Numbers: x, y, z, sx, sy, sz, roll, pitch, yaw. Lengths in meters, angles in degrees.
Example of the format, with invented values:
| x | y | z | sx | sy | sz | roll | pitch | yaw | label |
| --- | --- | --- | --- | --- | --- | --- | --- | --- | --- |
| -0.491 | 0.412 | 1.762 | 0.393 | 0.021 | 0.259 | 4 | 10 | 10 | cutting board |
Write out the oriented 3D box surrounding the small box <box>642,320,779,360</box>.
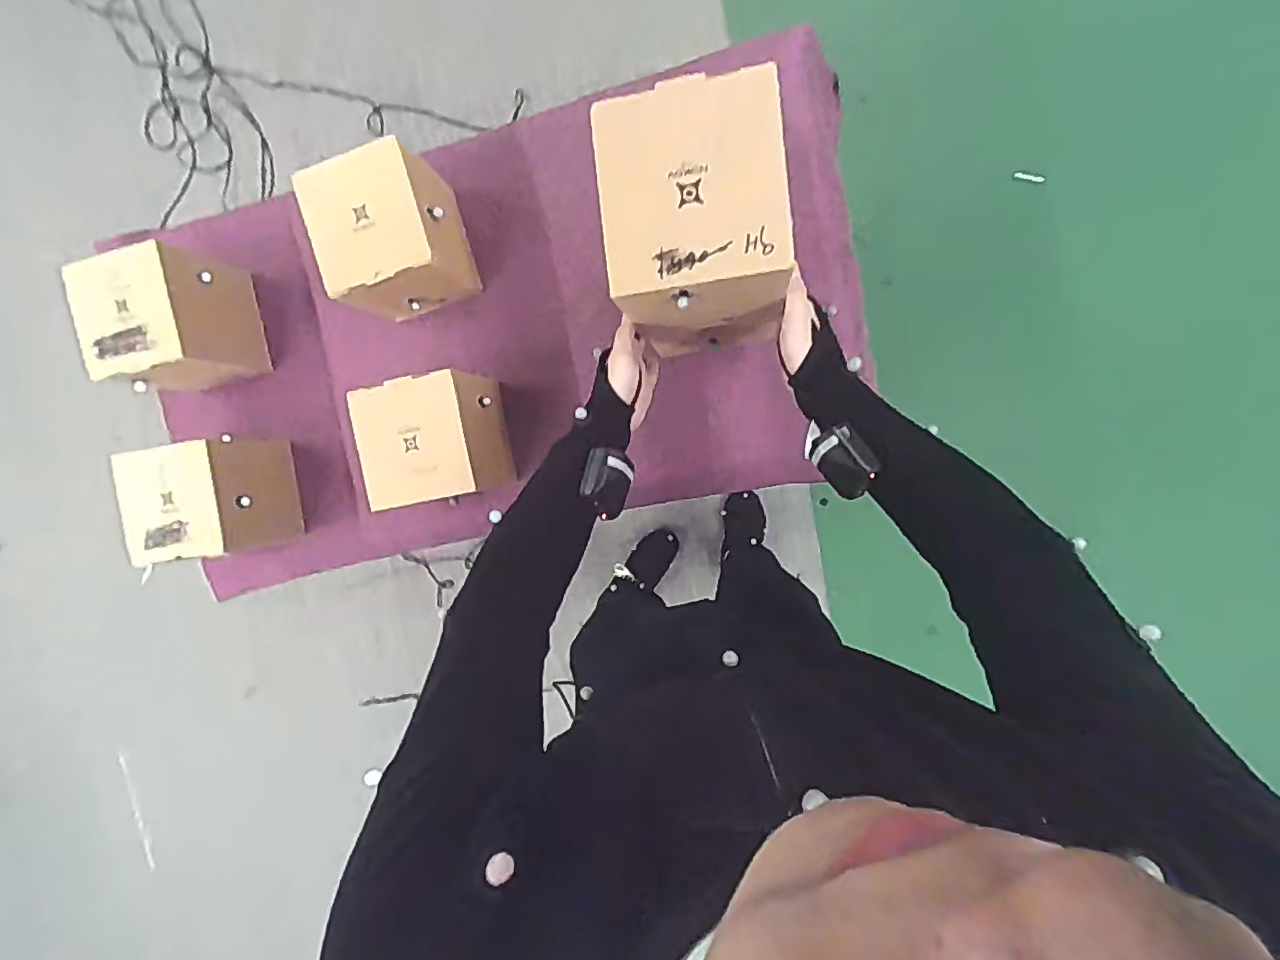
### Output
| x | y | z | sx | sy | sz | roll | pitch | yaw | label |
| --- | --- | --- | --- | --- | --- | --- | --- | --- | --- |
| 0.087 | -0.270 | 0.715 | 0.168 | 0.176 | 0.179 | -7 | 92 | 11 | small box |

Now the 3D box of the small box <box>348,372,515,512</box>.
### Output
| x | y | z | sx | sy | sz | roll | pitch | yaw | label |
| --- | --- | --- | --- | --- | --- | --- | --- | --- | --- |
| -0.310 | -0.055 | 0.836 | 0.168 | 0.176 | 0.179 | -10 | 93 | 8 | small box |

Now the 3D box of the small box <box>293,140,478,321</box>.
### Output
| x | y | z | sx | sy | sz | roll | pitch | yaw | label |
| --- | --- | --- | --- | --- | --- | --- | --- | --- | --- |
| -0.371 | -0.361 | 0.818 | 0.168 | 0.176 | 0.179 | -16 | 94 | 7 | small box |

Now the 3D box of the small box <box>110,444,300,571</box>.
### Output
| x | y | z | sx | sy | sz | roll | pitch | yaw | label |
| --- | --- | --- | --- | --- | --- | --- | --- | --- | --- |
| -0.696 | 0.037 | 0.885 | 0.168 | 0.176 | 0.179 | -8 | 92 | 7 | small box |

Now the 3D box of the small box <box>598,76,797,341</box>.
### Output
| x | y | z | sx | sy | sz | roll | pitch | yaw | label |
| --- | --- | --- | --- | --- | --- | --- | --- | --- | --- |
| 0.062 | -0.254 | 0.552 | 0.168 | 0.176 | 0.179 | -5 | 92 | 11 | small box |
